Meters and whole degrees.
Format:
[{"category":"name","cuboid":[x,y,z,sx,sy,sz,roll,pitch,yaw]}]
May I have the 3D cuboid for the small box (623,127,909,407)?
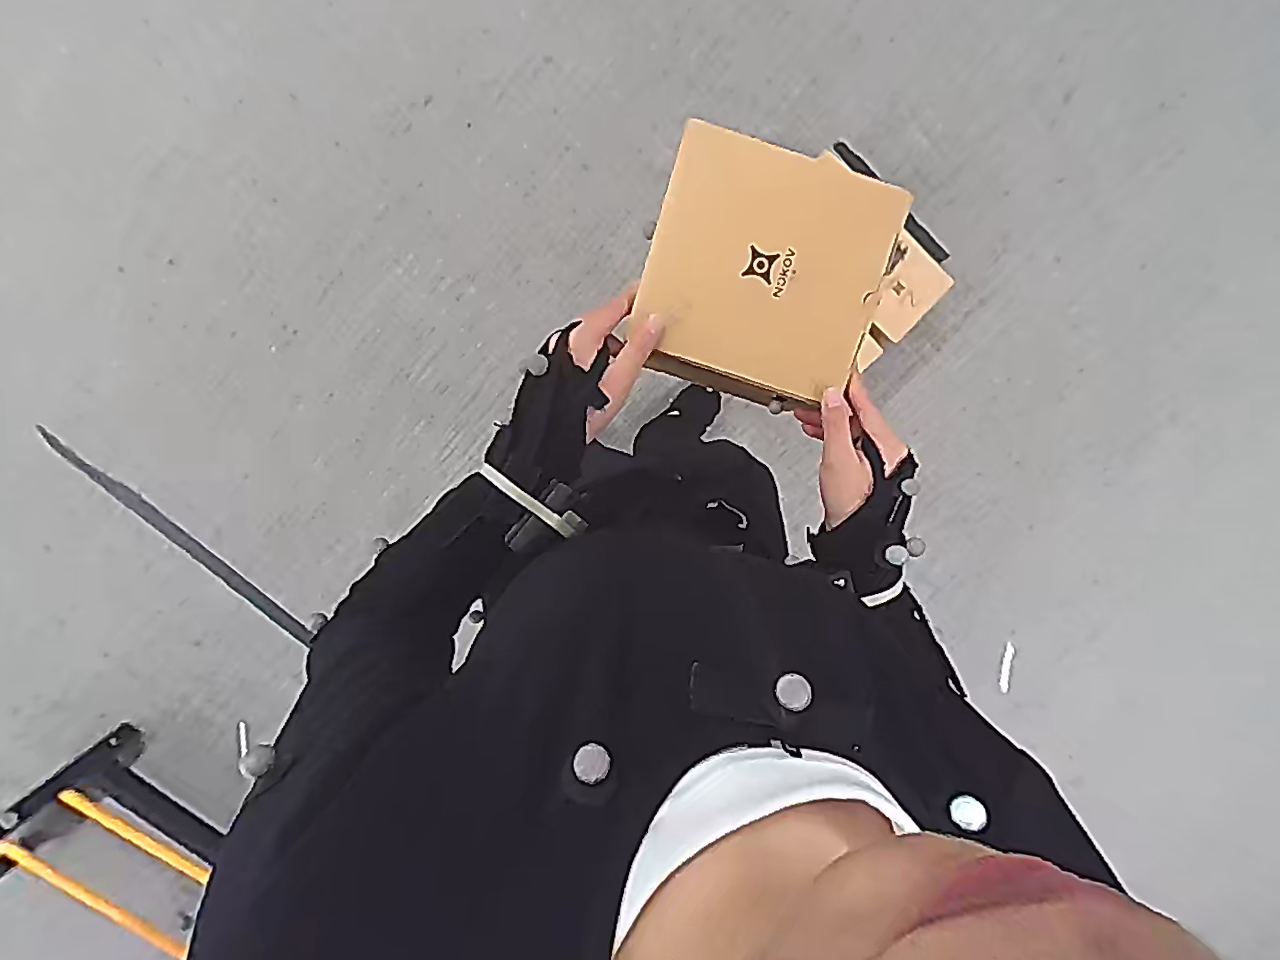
[{"category":"small box","cuboid":[0.092,-0.164,0.481,0.179,0.176,0.168,17,97,-3]}]
